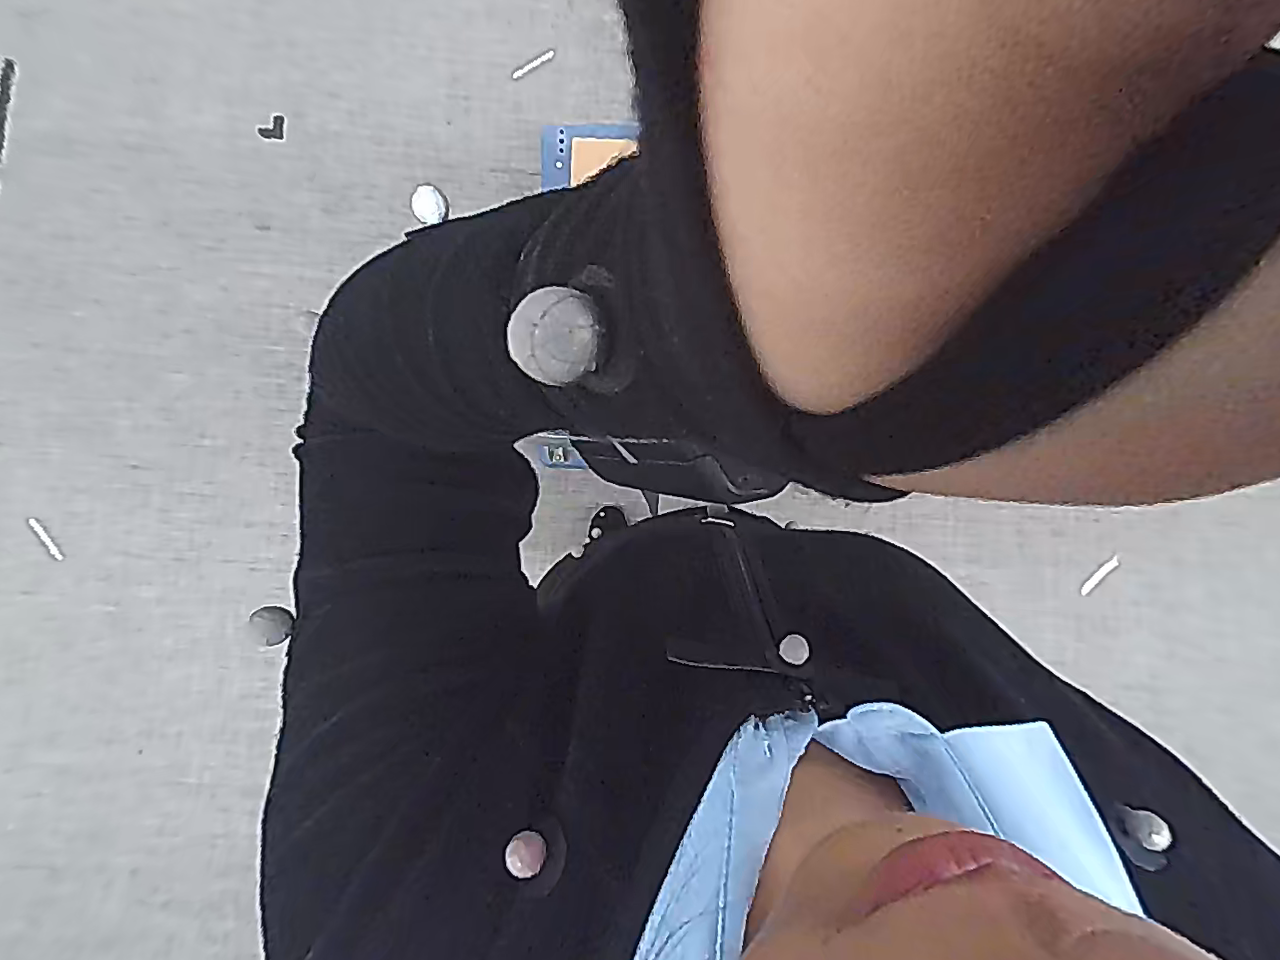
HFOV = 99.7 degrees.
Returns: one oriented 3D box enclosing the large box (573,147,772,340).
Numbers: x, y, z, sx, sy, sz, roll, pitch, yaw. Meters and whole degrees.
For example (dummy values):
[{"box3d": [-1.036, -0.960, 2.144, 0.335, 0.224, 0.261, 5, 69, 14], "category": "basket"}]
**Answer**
[{"box3d": [0.065, -0.513, 1.232, 0.408, 0.320, 0.320, 1, 87, -1], "category": "large box"}]
